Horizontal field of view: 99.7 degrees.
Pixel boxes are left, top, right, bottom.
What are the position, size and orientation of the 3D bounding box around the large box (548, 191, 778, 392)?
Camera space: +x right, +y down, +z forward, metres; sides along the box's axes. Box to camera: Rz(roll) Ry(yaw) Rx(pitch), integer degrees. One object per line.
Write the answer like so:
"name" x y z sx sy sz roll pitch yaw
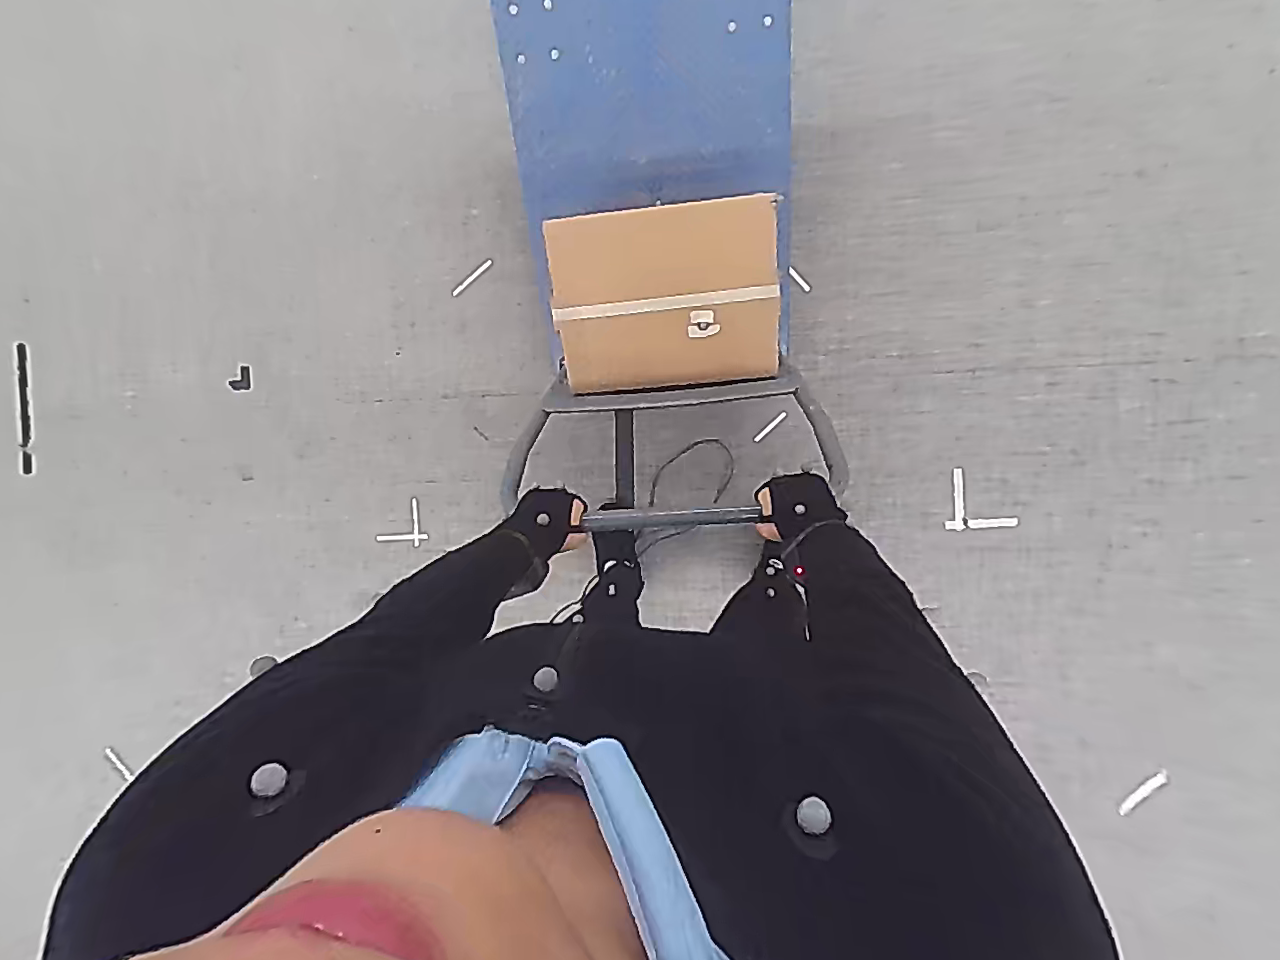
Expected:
"large box" 0.056 -0.392 1.132 0.408 0.320 0.320 -5 114 5
